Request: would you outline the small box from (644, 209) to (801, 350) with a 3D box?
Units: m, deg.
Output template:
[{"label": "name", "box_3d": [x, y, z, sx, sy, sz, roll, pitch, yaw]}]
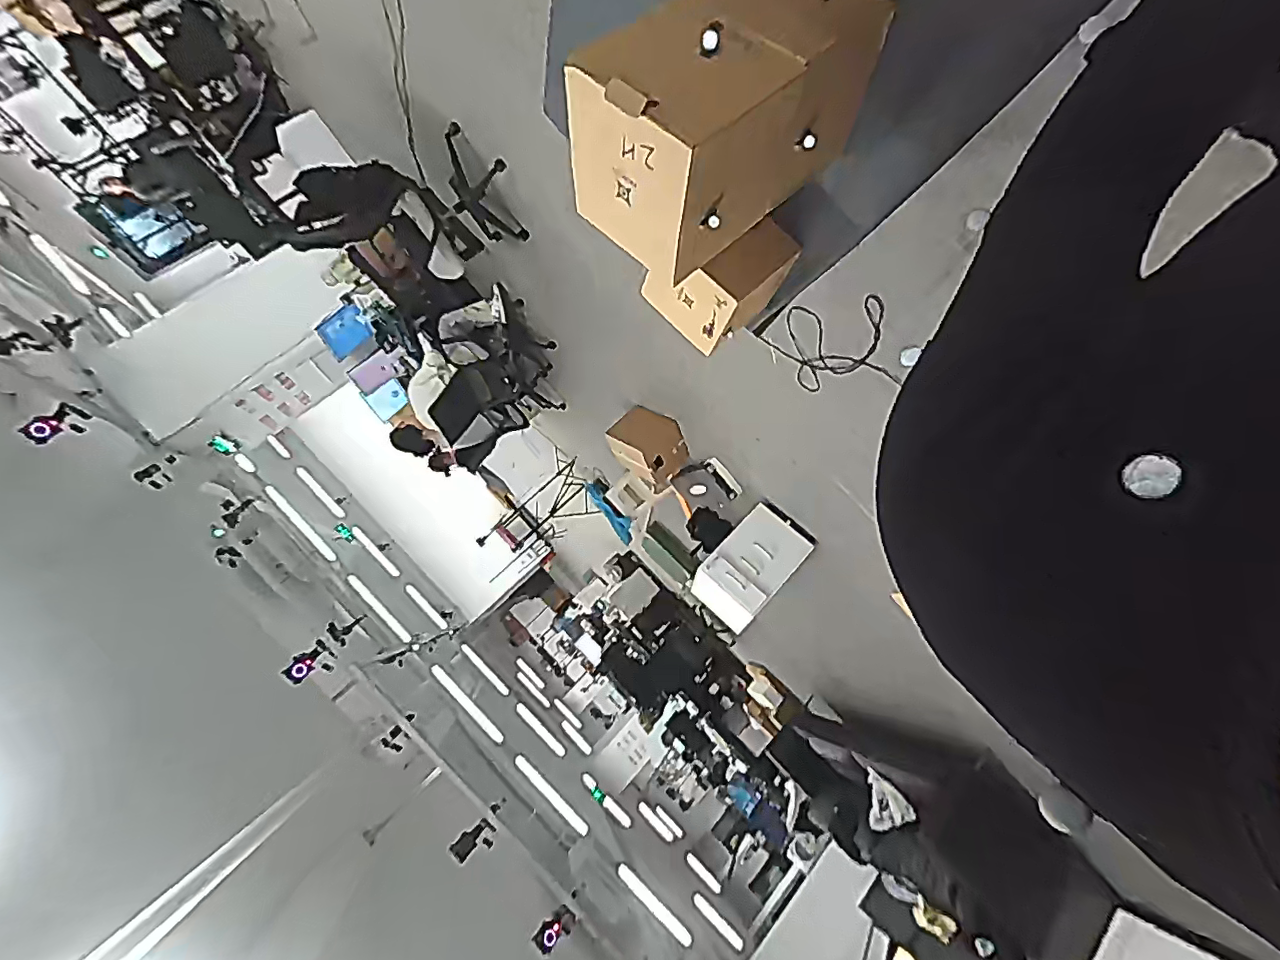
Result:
[{"label": "small box", "box_3d": [0.137, -0.367, 0.932, 0.179, 0.176, 0.168, 45, 162, 5]}]

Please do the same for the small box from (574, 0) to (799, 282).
[{"label": "small box", "box_3d": [0.047, -0.369, 0.600, 0.168, 0.176, 0.179, 42, 161, 13]}]

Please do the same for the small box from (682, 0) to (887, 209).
[{"label": "small box", "box_3d": [0.159, -0.479, 0.650, 0.168, 0.176, 0.179, 41, 161, 16]}]
